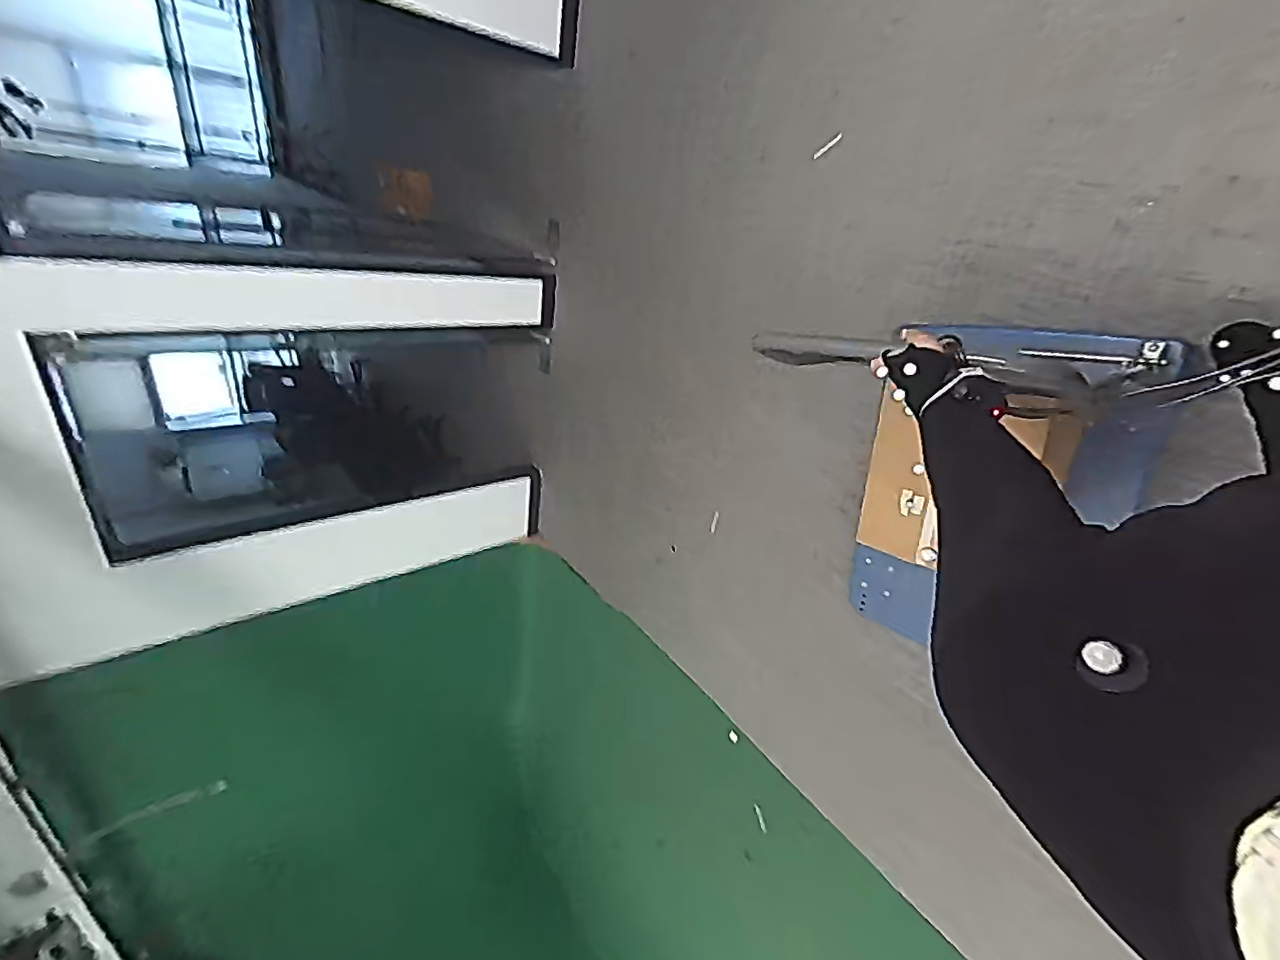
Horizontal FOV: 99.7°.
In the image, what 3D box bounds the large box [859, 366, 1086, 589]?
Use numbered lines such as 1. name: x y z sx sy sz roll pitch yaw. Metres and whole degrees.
1. large box: 0.743 -0.036 1.228 0.320 0.320 0.408 23 118 44
